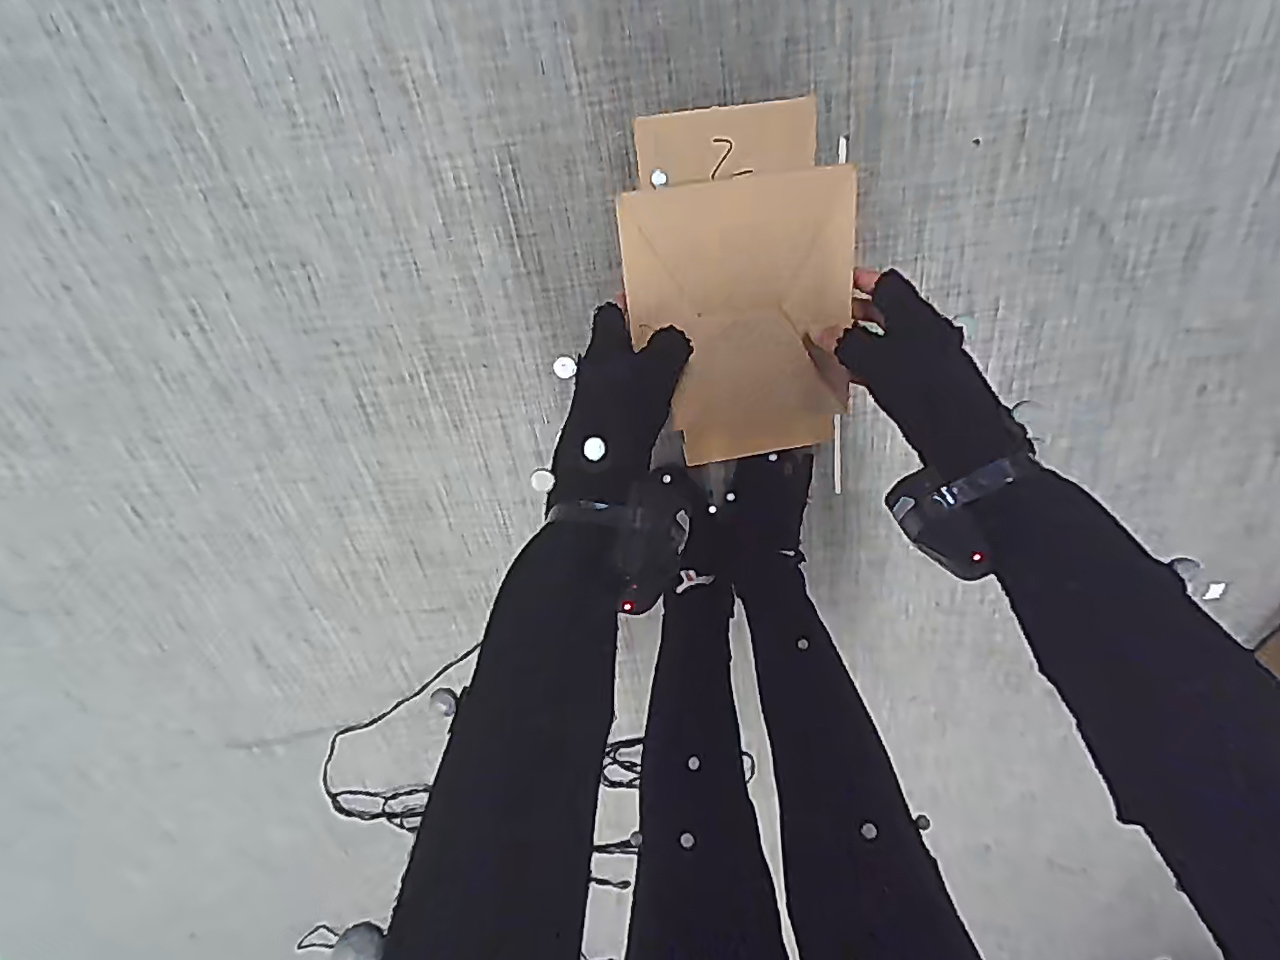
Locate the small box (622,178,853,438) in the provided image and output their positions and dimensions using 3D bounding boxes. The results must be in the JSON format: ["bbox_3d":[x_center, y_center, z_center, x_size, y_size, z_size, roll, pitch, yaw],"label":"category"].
[{"bbox_3d":[0.077,-0.152,0.473,0.168,0.176,0.179,-5,113,4],"label":"small box"}]
